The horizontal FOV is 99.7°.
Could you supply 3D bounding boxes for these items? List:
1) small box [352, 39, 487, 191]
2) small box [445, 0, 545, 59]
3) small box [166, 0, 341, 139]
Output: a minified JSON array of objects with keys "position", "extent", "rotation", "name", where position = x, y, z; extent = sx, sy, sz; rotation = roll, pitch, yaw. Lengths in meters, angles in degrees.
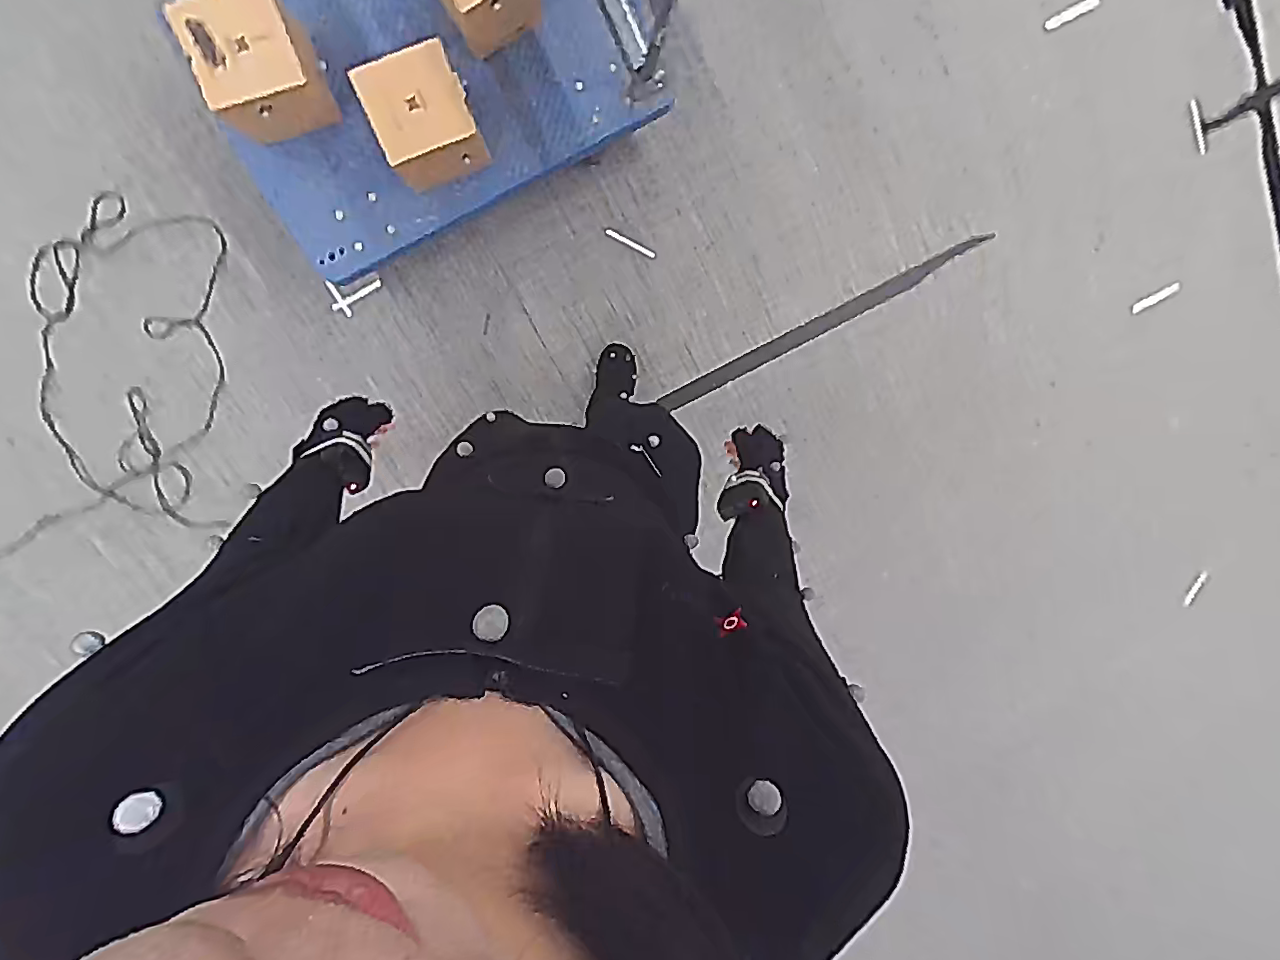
[{"position":[-0.414,-0.699,1.056],"extent":[0.179,0.176,0.168],"rotation":[-22,103,0],"name":"small box"},{"position":[-0.294,-0.954,1.012],"extent":[0.168,0.176,0.179],"rotation":[-31,104,1],"name":"small box"},{"position":[-0.699,-0.768,1.002],"extent":[0.179,0.176,0.168],"rotation":[-18,105,-4],"name":"small box"}]
